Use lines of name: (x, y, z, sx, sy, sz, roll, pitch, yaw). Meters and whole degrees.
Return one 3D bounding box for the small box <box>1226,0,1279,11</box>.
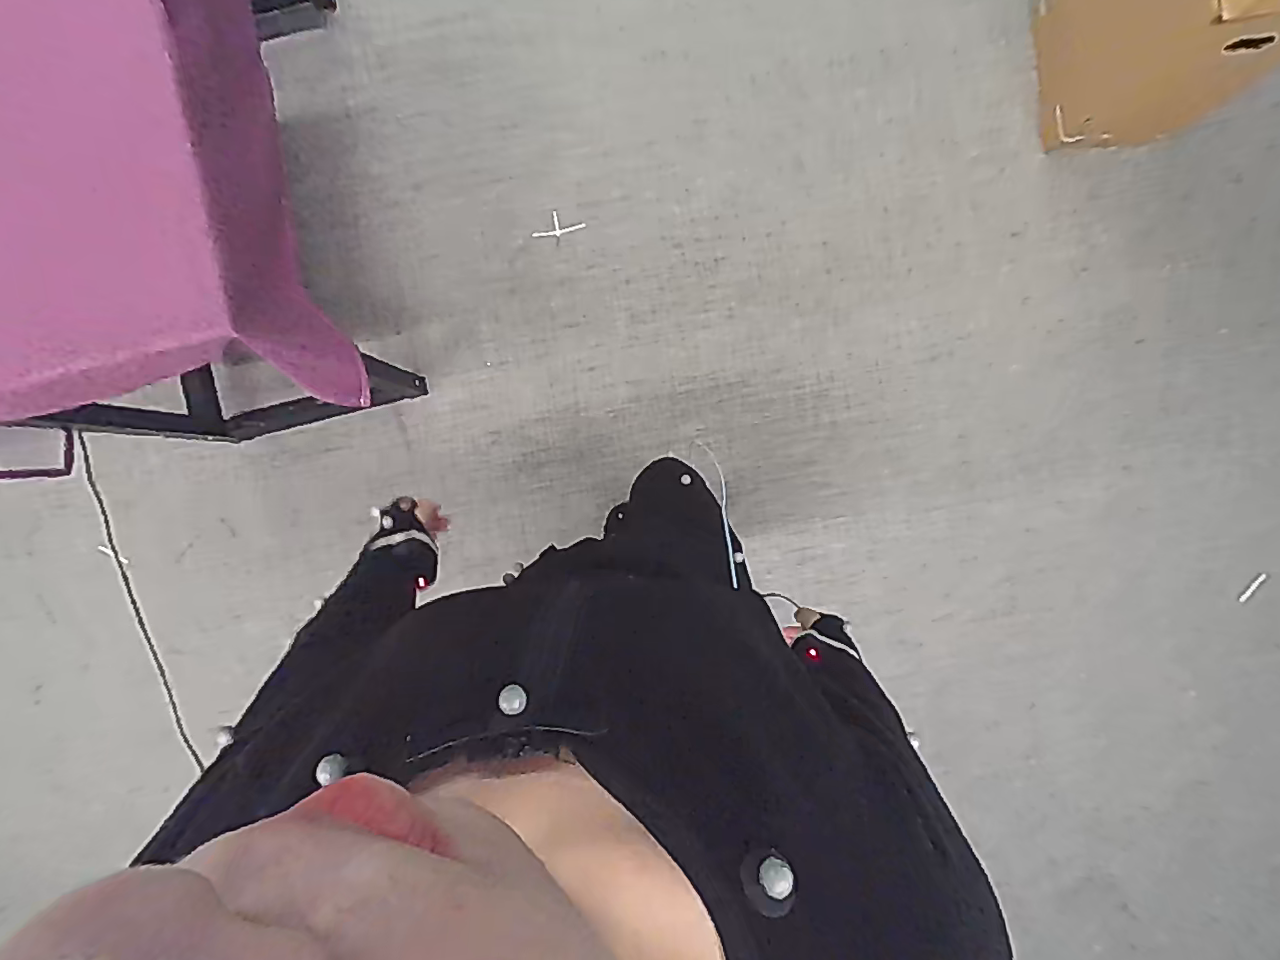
small box: (1.161, -0.953, 0.922, 0.179, 0.176, 0.168, -8, 91, 1)
